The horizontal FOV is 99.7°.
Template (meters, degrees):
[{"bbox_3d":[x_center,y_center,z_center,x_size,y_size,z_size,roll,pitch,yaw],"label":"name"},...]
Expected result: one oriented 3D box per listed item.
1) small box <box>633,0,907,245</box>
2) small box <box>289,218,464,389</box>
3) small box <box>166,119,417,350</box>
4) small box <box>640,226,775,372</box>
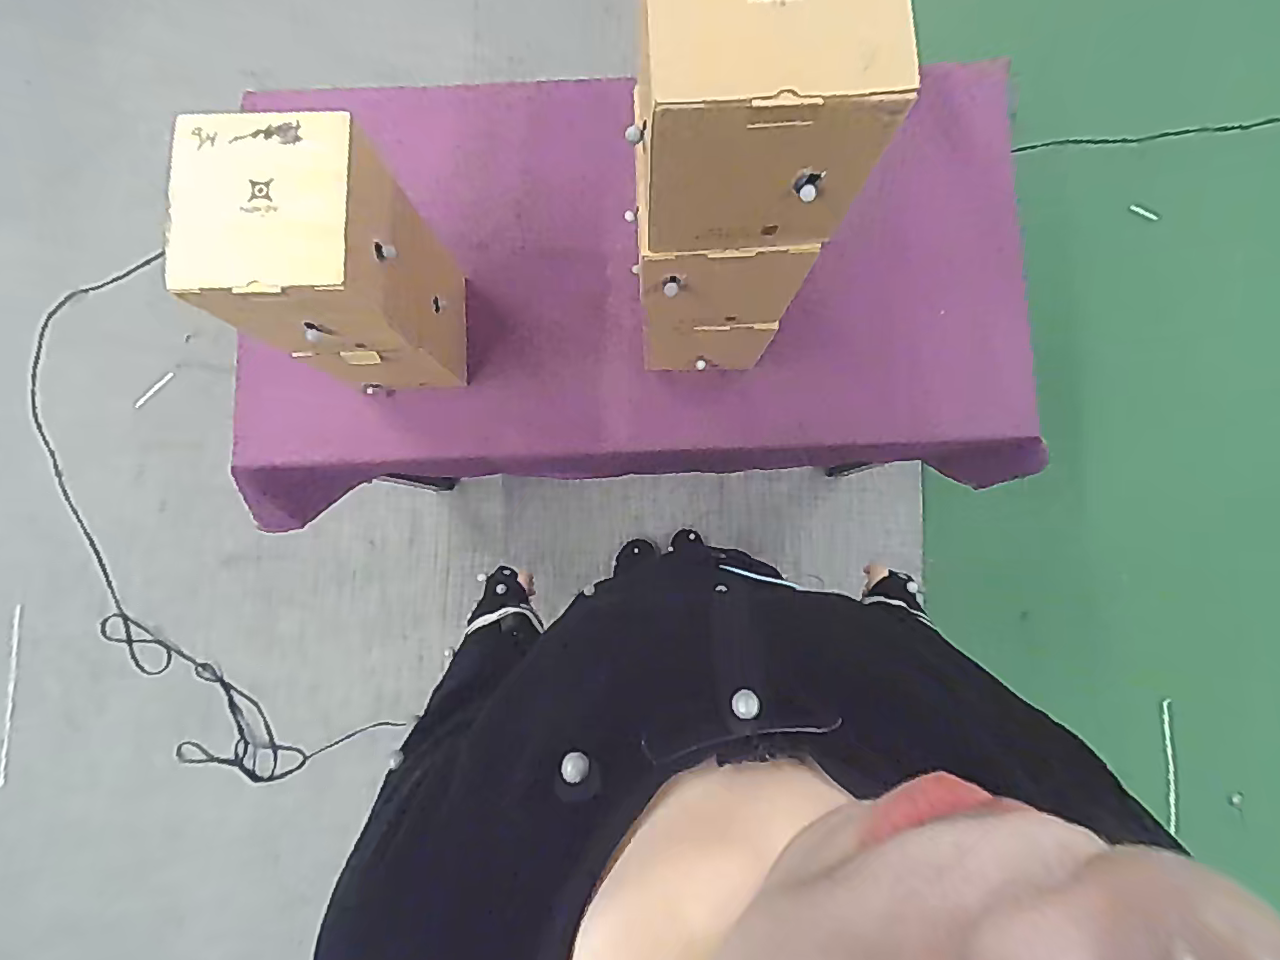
[{"bbox_3d":[0.080,-0.300,0.419,0.168,0.176,0.179,-3,83,-1],"label":"small box"},{"bbox_3d":[-0.349,-0.228,0.744,0.168,0.176,0.179,-3,83,0],"label":"small box"},{"bbox_3d":[-0.353,-0.245,0.580,0.168,0.176,0.179,-1,85,-1],"label":"small box"},{"bbox_3d":[0.084,-0.259,0.744,0.168,0.176,0.179,0,85,1],"label":"small box"}]
